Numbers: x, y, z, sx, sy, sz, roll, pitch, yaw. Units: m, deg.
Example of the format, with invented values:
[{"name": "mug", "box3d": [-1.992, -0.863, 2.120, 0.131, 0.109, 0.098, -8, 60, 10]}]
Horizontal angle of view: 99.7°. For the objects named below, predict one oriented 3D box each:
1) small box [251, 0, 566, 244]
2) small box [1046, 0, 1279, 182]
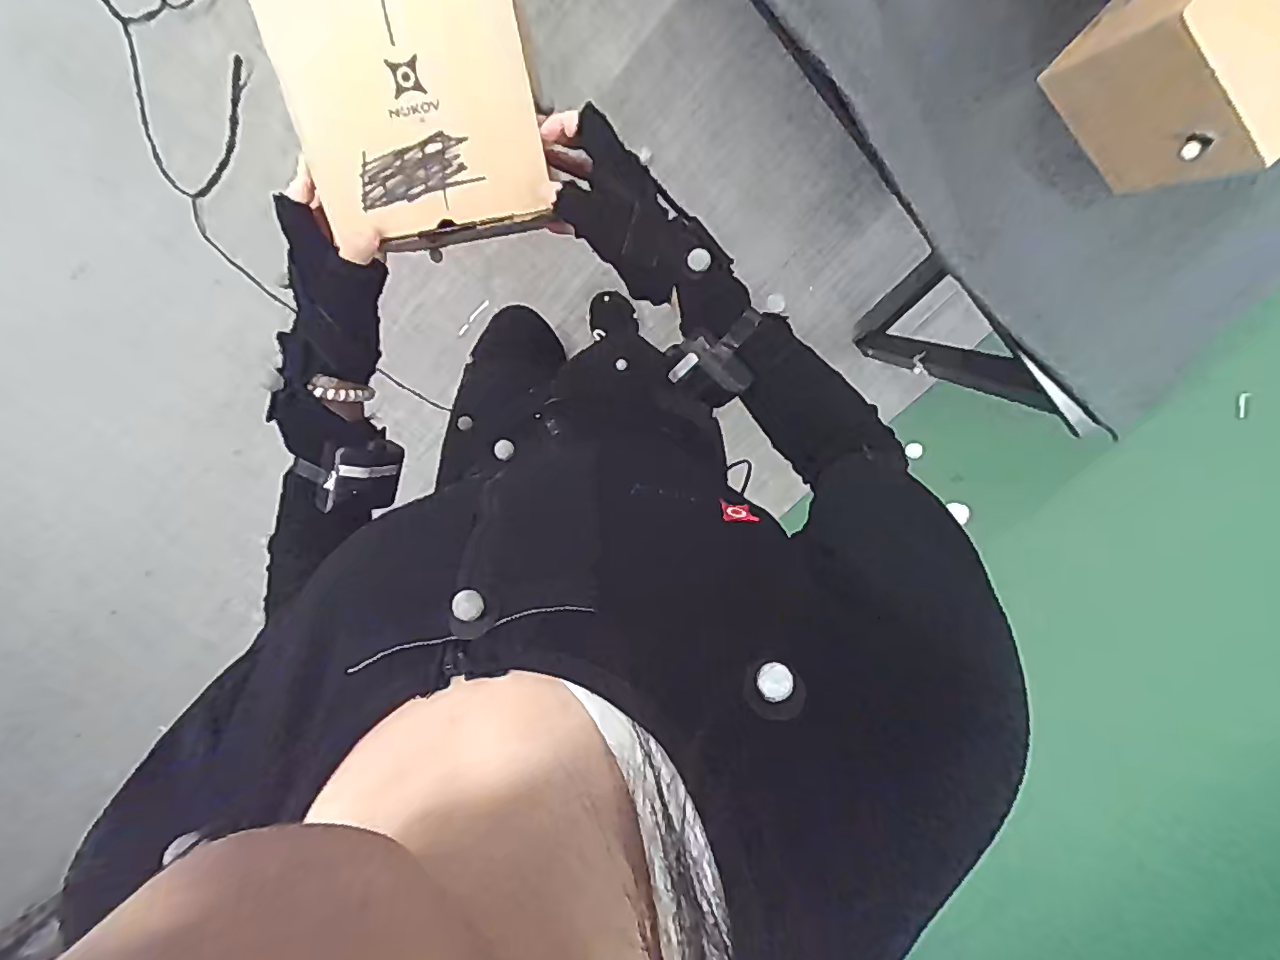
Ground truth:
[{"name": "small box", "box3d": [-0.160, -0.297, 0.436, 0.168, 0.176, 0.179, -10, 113, 1]}, {"name": "small box", "box3d": [0.568, -0.427, 0.534, 0.179, 0.176, 0.168, 40, 104, -15]}]
